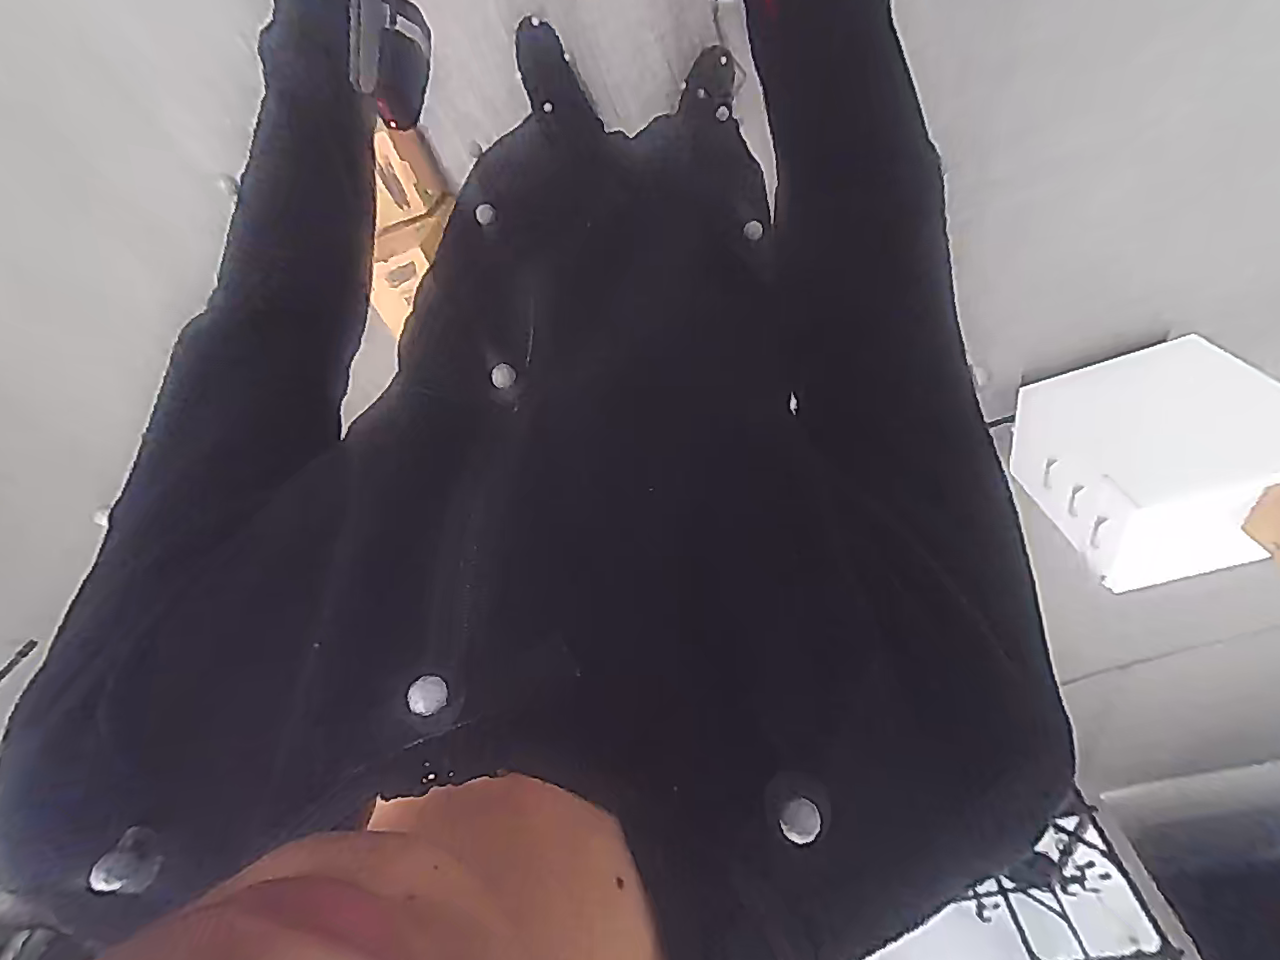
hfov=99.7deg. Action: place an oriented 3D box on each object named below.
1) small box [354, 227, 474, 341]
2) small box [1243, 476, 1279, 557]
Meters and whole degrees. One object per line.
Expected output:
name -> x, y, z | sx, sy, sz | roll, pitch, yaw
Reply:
small box -> -0.501, -0.452, 1.227 | 0.168, 0.176, 0.179 | -15, 133, 10
small box -> 1.648, 0.089, 1.312 | 0.168, 0.176, 0.179 | -18, 132, 10
